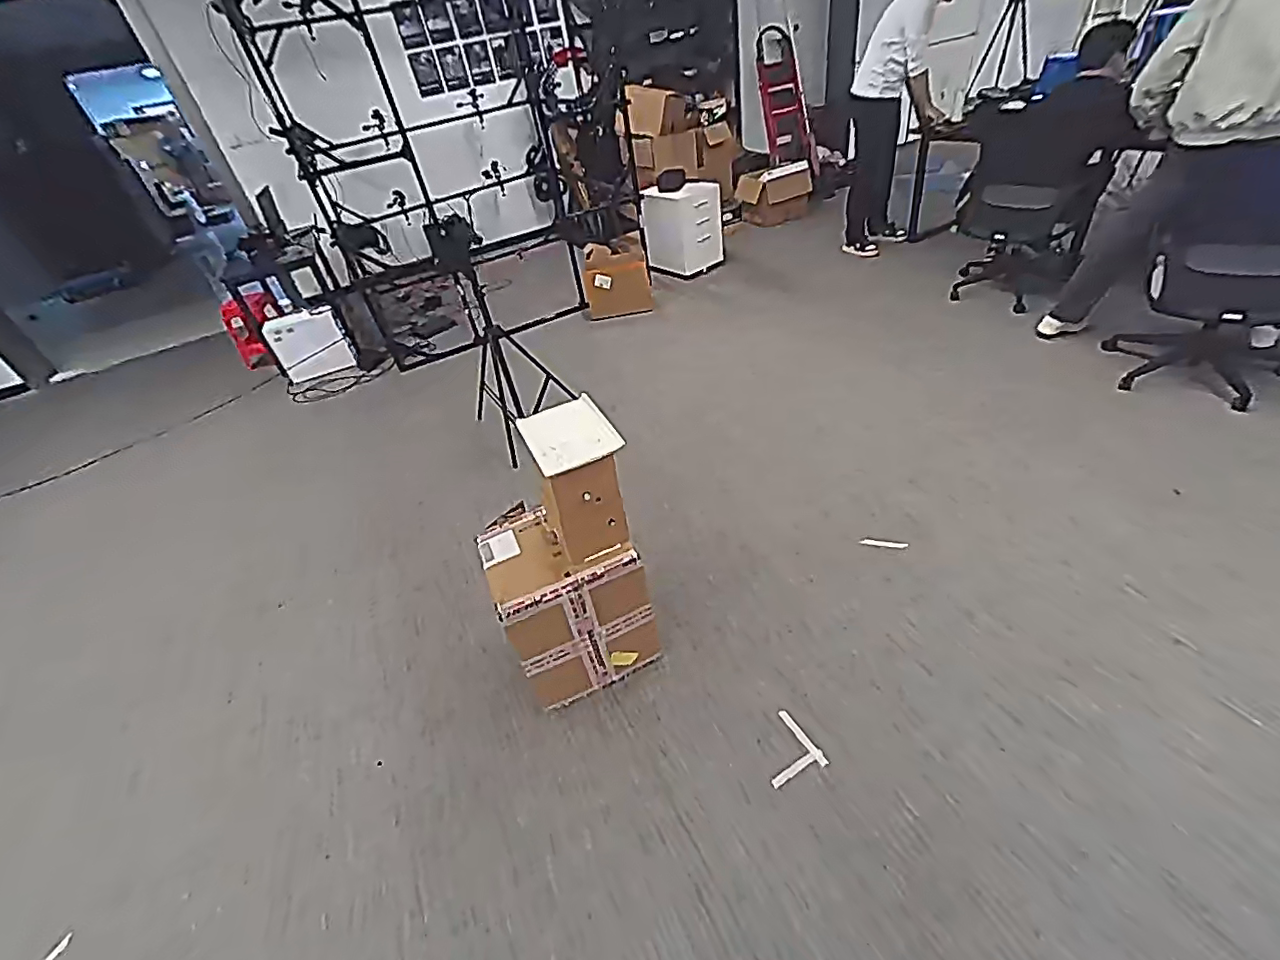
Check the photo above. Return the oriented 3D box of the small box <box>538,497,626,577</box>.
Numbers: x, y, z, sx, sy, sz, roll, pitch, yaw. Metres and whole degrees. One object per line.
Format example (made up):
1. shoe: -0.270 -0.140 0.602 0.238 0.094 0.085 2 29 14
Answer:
1. small box: -0.147 0.123 1.434 0.179 0.176 0.168 -24 41 -18

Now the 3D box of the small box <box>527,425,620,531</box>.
1. small box: -0.163 -0.005 1.331 0.168 0.176 0.179 -21 42 -15
